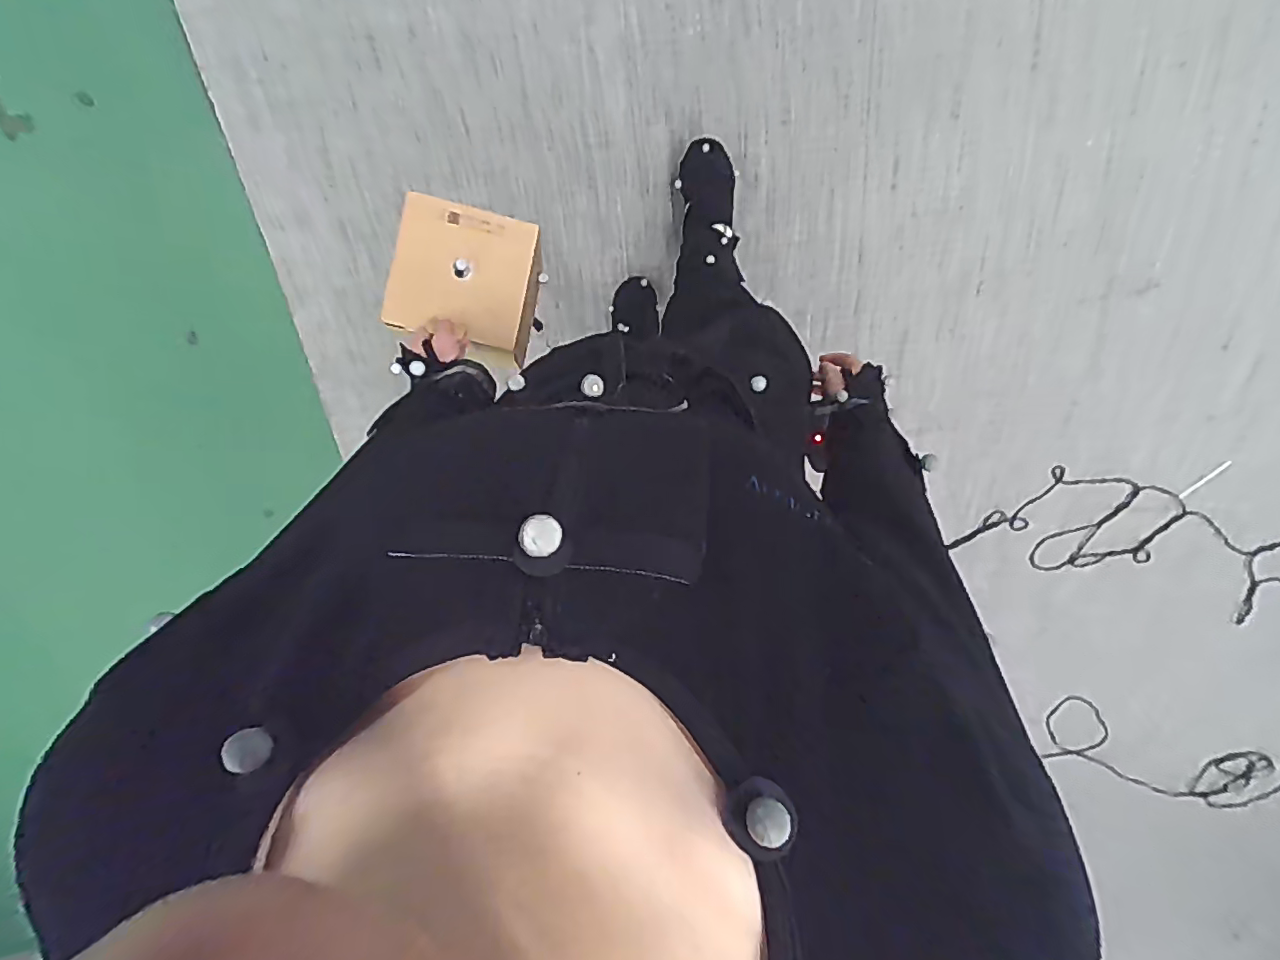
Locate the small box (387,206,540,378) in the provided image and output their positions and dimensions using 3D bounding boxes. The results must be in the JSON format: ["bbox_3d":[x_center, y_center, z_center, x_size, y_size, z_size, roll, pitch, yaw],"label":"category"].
[{"bbox_3d":[-0.238,-0.255,0.763,0.168,0.179,0.176,9,89,-9],"label":"small box"}]
